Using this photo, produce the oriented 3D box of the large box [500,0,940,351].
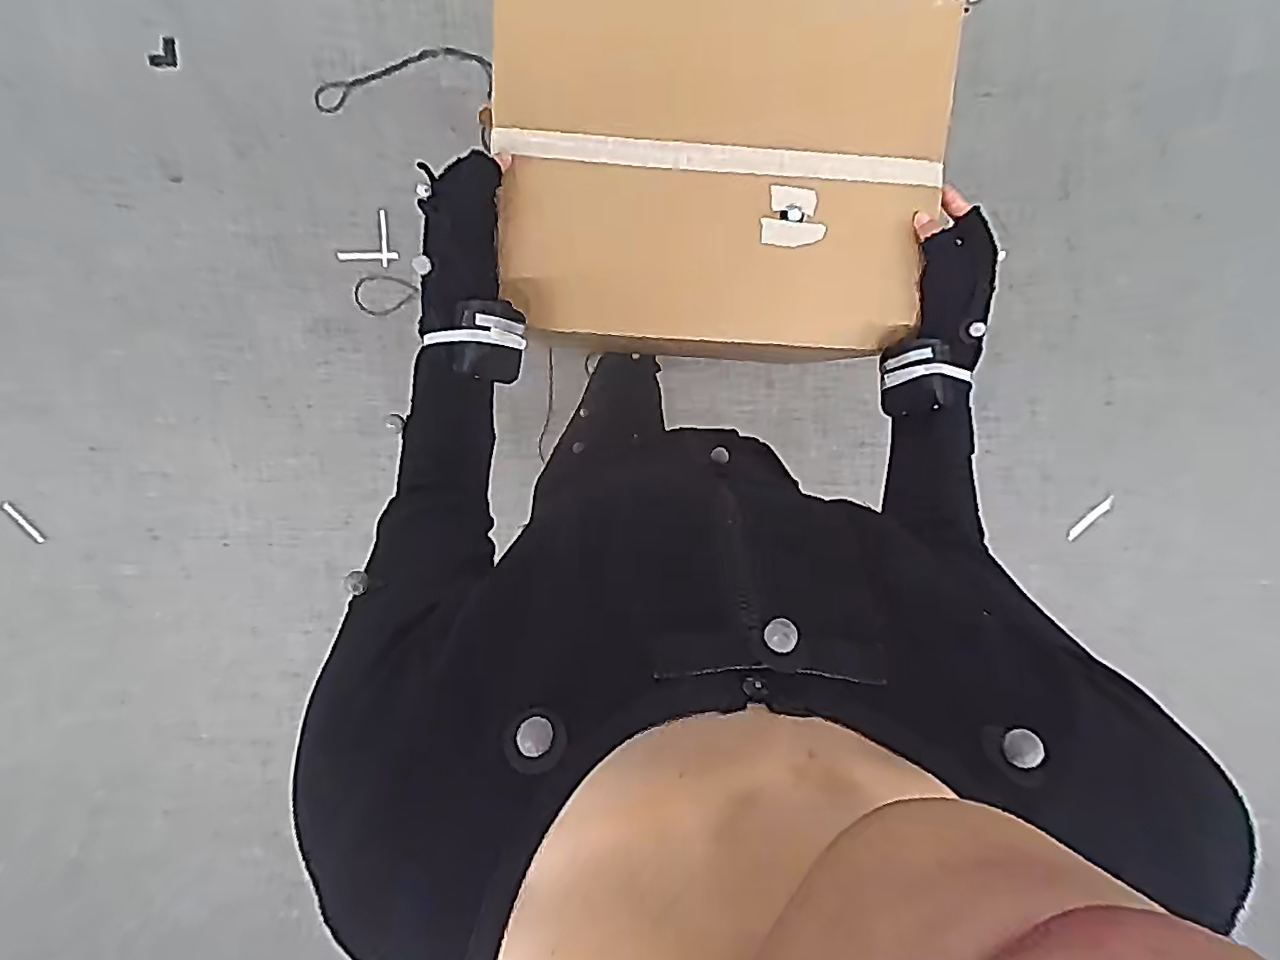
[{"bbox_3d":[0.061,-0.327,0.650,0.408,0.320,0.320,2,101,-4],"label":"large box"}]
